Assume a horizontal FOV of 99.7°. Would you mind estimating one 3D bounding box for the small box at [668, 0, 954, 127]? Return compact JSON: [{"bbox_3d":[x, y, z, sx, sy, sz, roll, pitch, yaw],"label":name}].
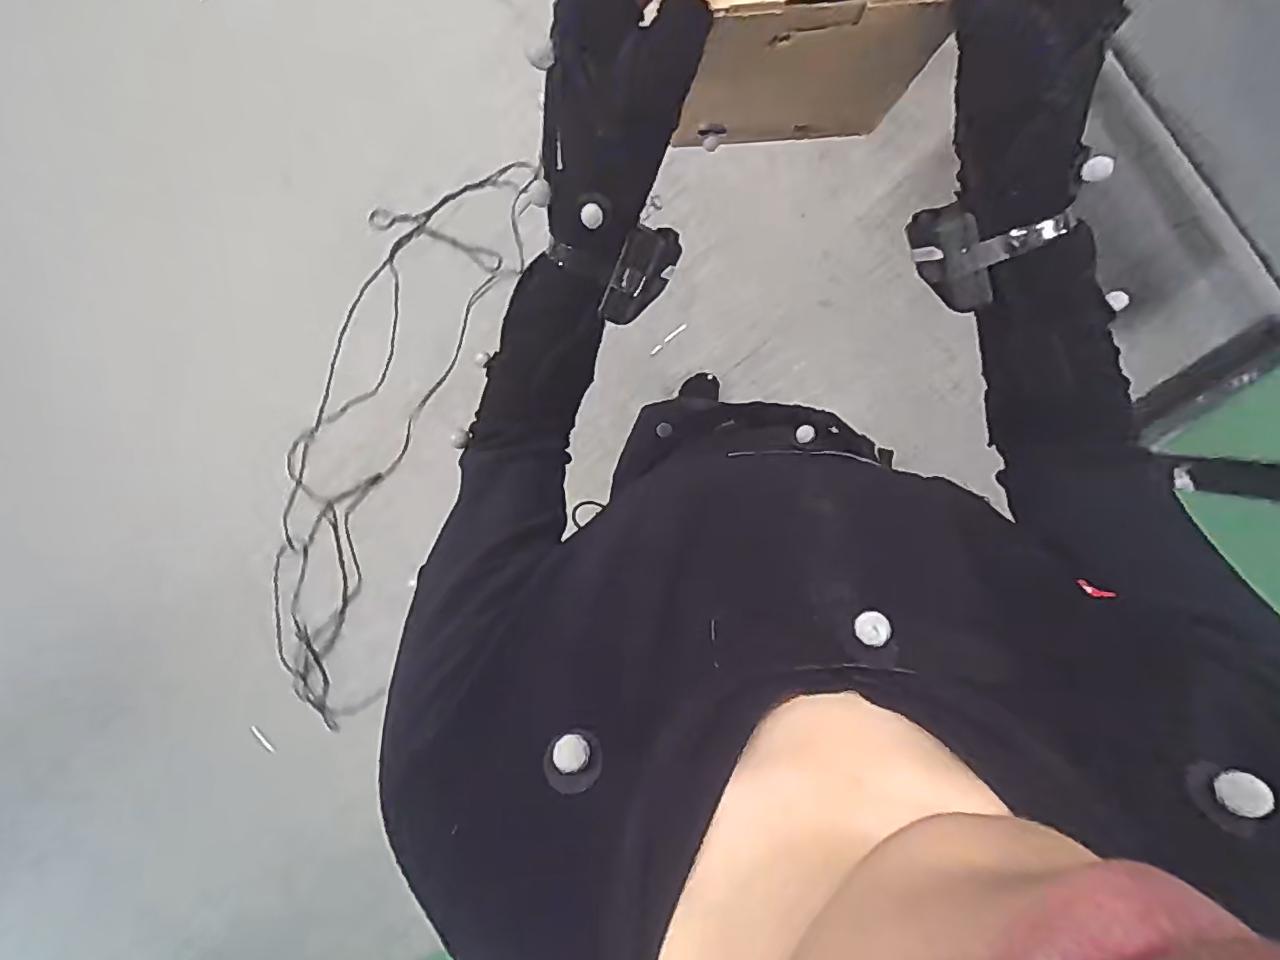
[{"bbox_3d":[0.101,-0.352,0.346,0.168,0.176,0.179,-1,100,4],"label":"small box"}]
